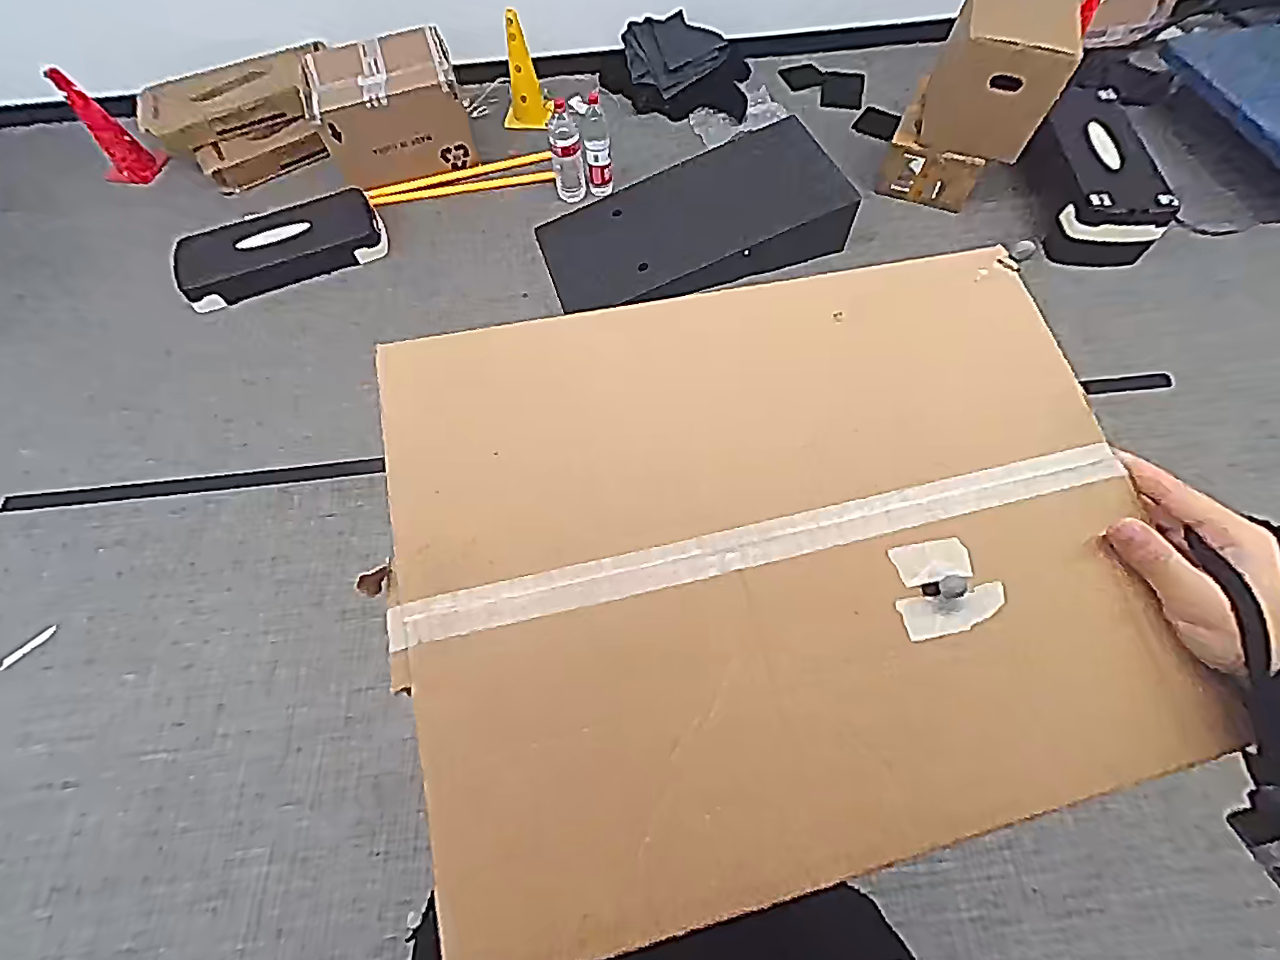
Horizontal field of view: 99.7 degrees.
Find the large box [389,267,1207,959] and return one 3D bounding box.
[{"bbox_3d":[0.067,0.081,0.443,0.408,0.320,0.320,-12,74,-9],"label":"large box"}]
